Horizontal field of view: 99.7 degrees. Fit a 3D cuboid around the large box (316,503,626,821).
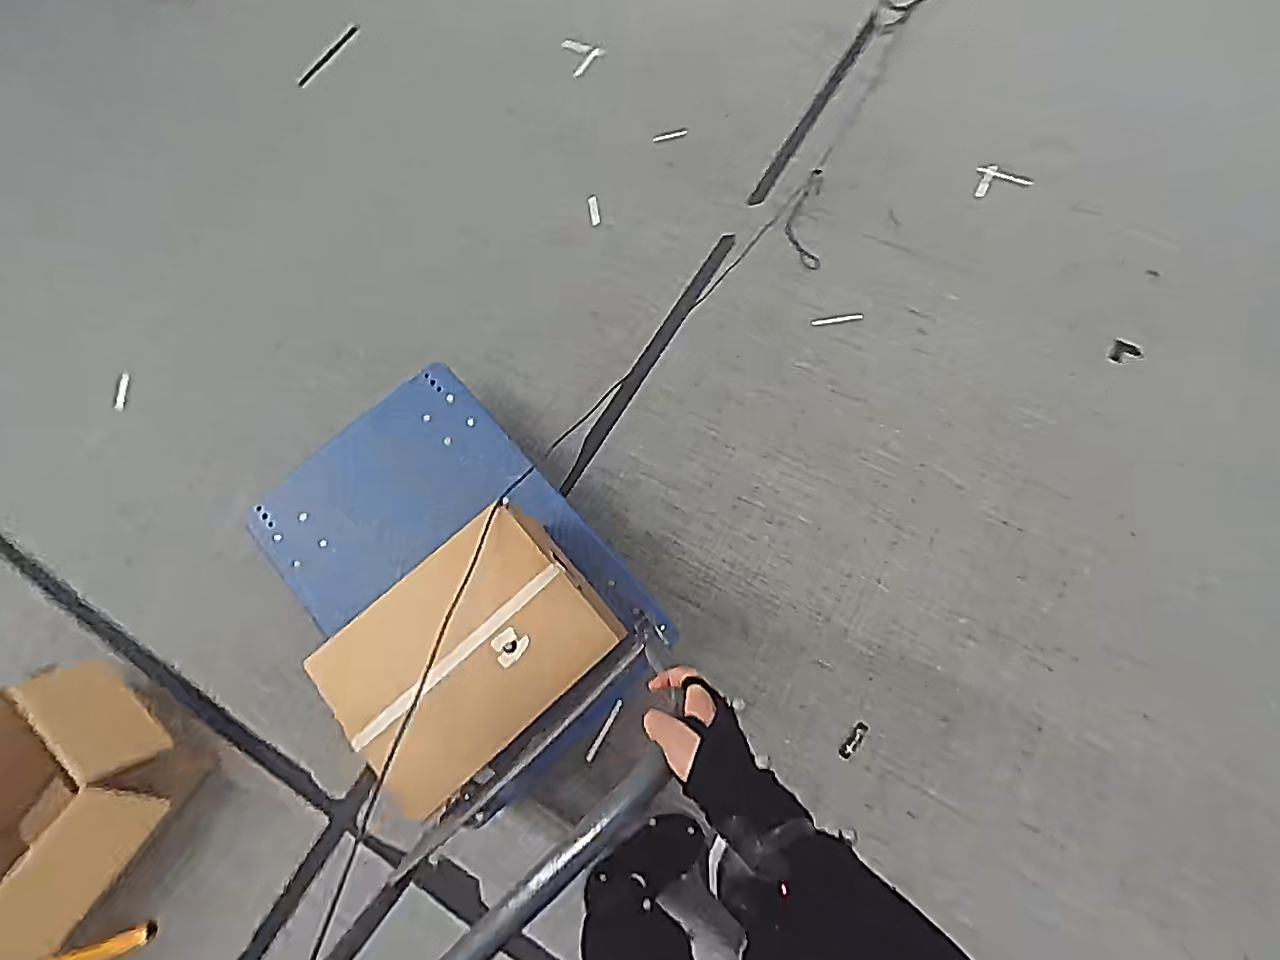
[{"bbox_3d":[-0.275,0.313,1.009,0.408,0.320,0.320,-41,80,-9],"label":"large box"}]
